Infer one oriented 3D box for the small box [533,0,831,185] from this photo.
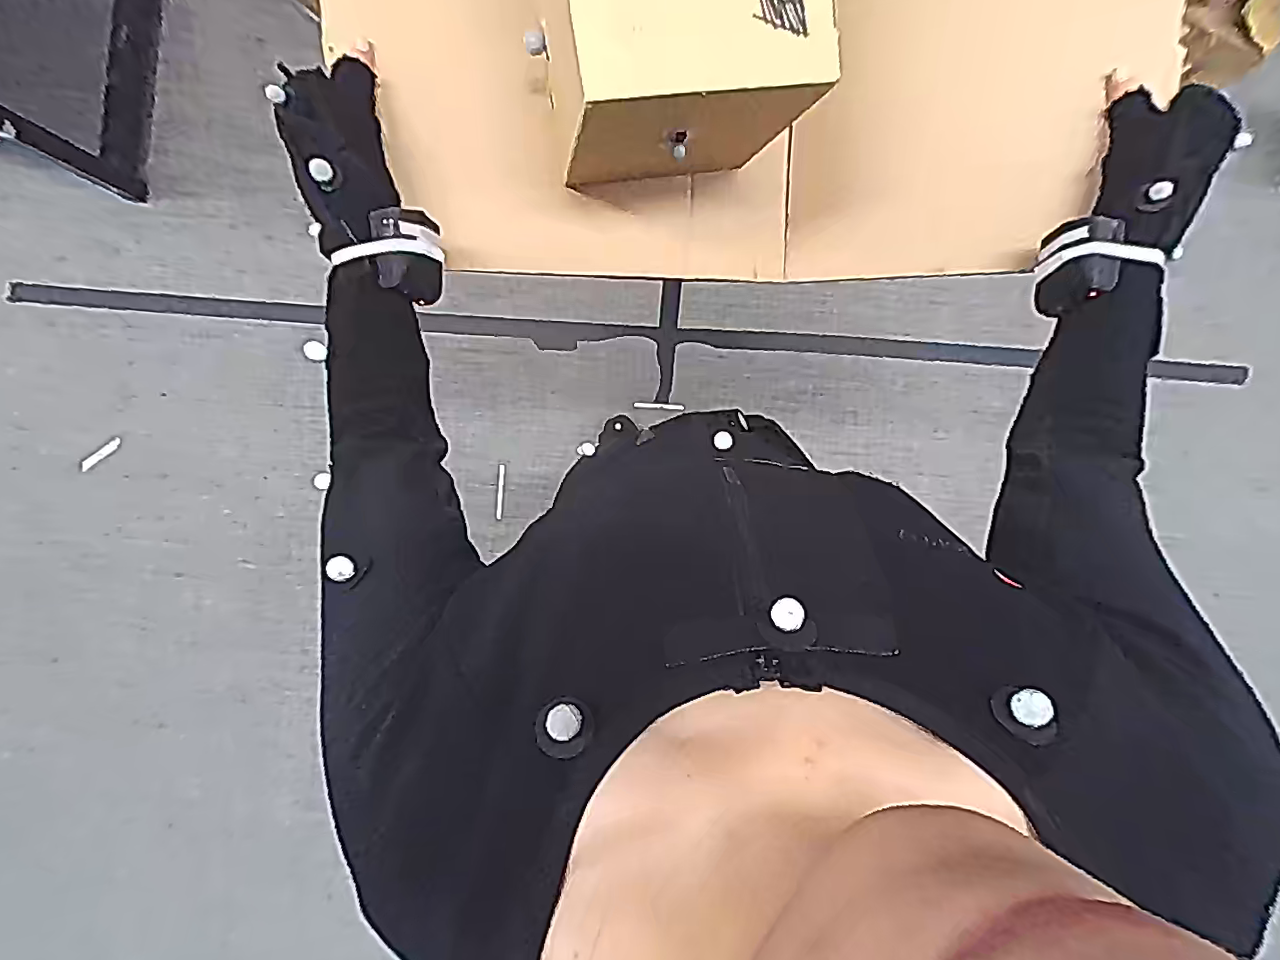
[{"bbox_3d":[0.020,-0.345,0.413,0.179,0.176,0.168,-11,104,-9],"label":"small box"}]
